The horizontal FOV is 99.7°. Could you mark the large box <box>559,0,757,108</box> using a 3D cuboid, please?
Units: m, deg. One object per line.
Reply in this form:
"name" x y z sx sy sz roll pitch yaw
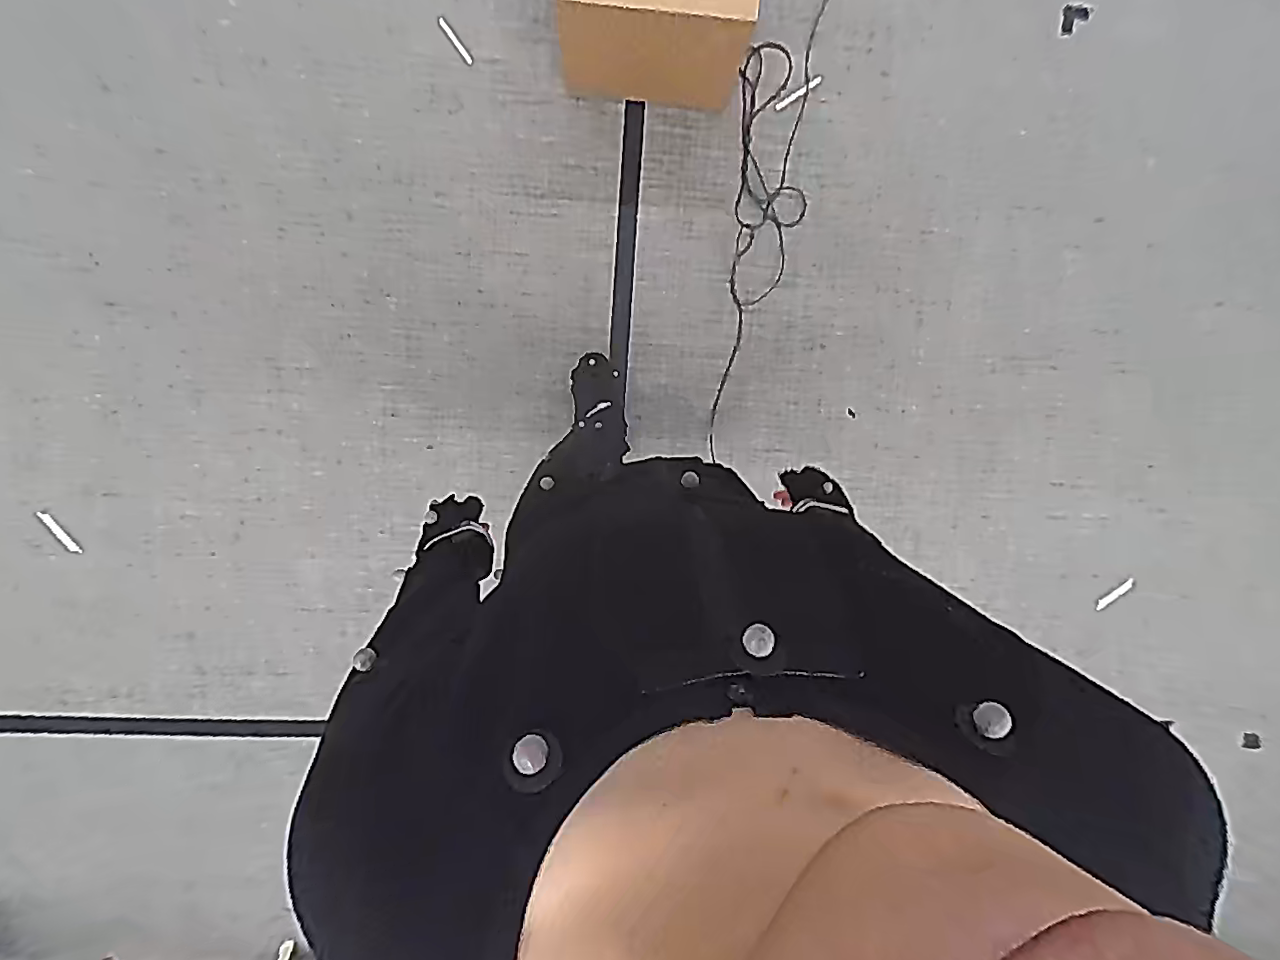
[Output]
"large box" 0.030 -1.093 1.207 0.408 0.320 0.320 3 96 -5
